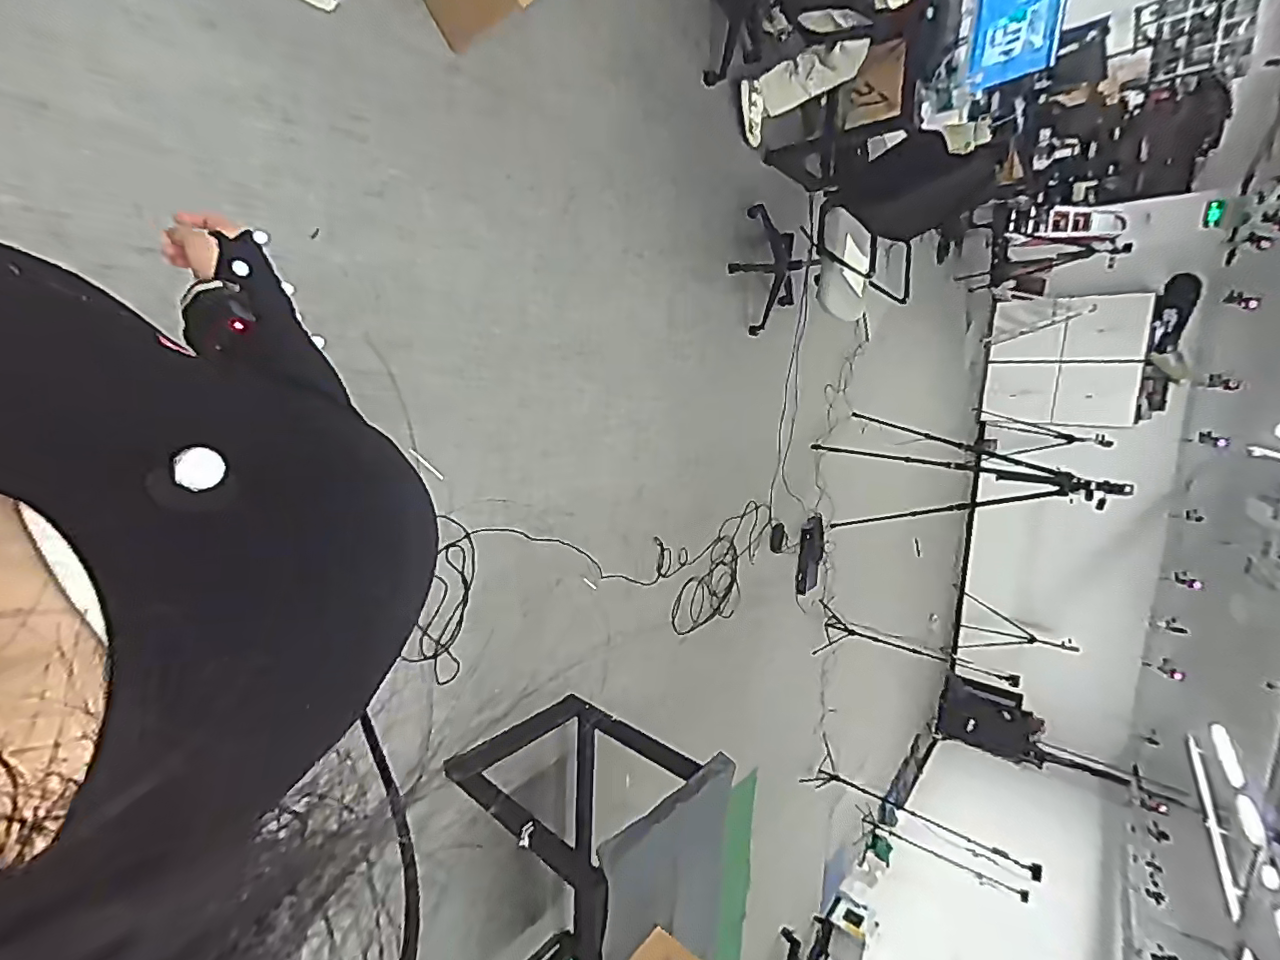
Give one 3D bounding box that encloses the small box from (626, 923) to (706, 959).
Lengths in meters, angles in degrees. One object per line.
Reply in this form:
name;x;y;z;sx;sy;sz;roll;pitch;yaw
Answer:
small box;0.059;1.369;1.461;0.179;0.176;0.168;-9;104;-50
